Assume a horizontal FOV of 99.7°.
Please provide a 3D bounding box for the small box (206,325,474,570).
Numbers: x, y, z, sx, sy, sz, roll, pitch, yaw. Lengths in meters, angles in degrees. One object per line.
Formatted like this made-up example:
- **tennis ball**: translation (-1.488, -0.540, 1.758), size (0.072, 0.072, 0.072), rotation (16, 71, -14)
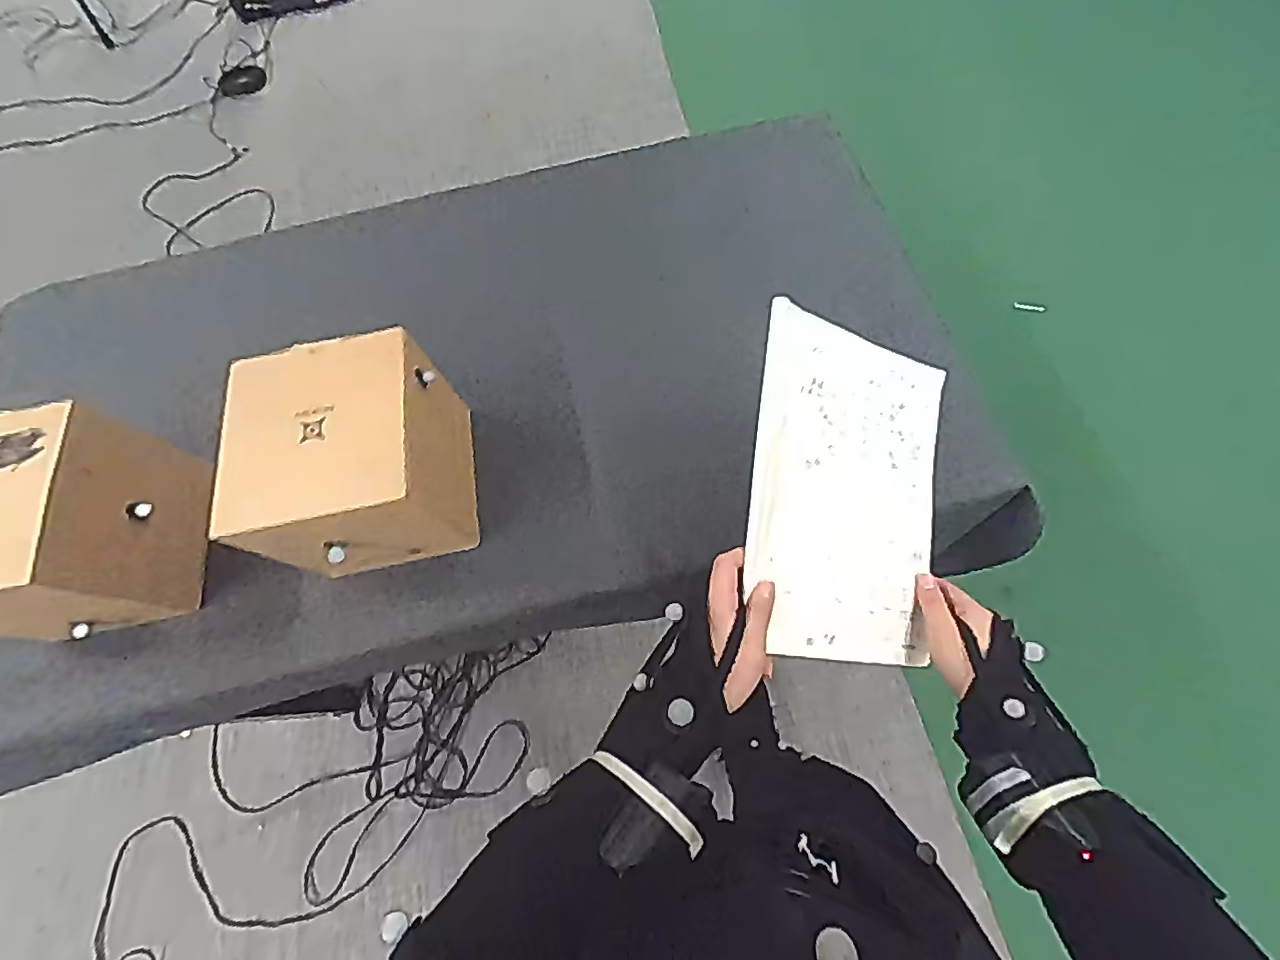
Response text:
- **small box**: translation (-0.275, -0.017, 0.534), size (0.168, 0.176, 0.179), rotation (-12, 67, 1)
